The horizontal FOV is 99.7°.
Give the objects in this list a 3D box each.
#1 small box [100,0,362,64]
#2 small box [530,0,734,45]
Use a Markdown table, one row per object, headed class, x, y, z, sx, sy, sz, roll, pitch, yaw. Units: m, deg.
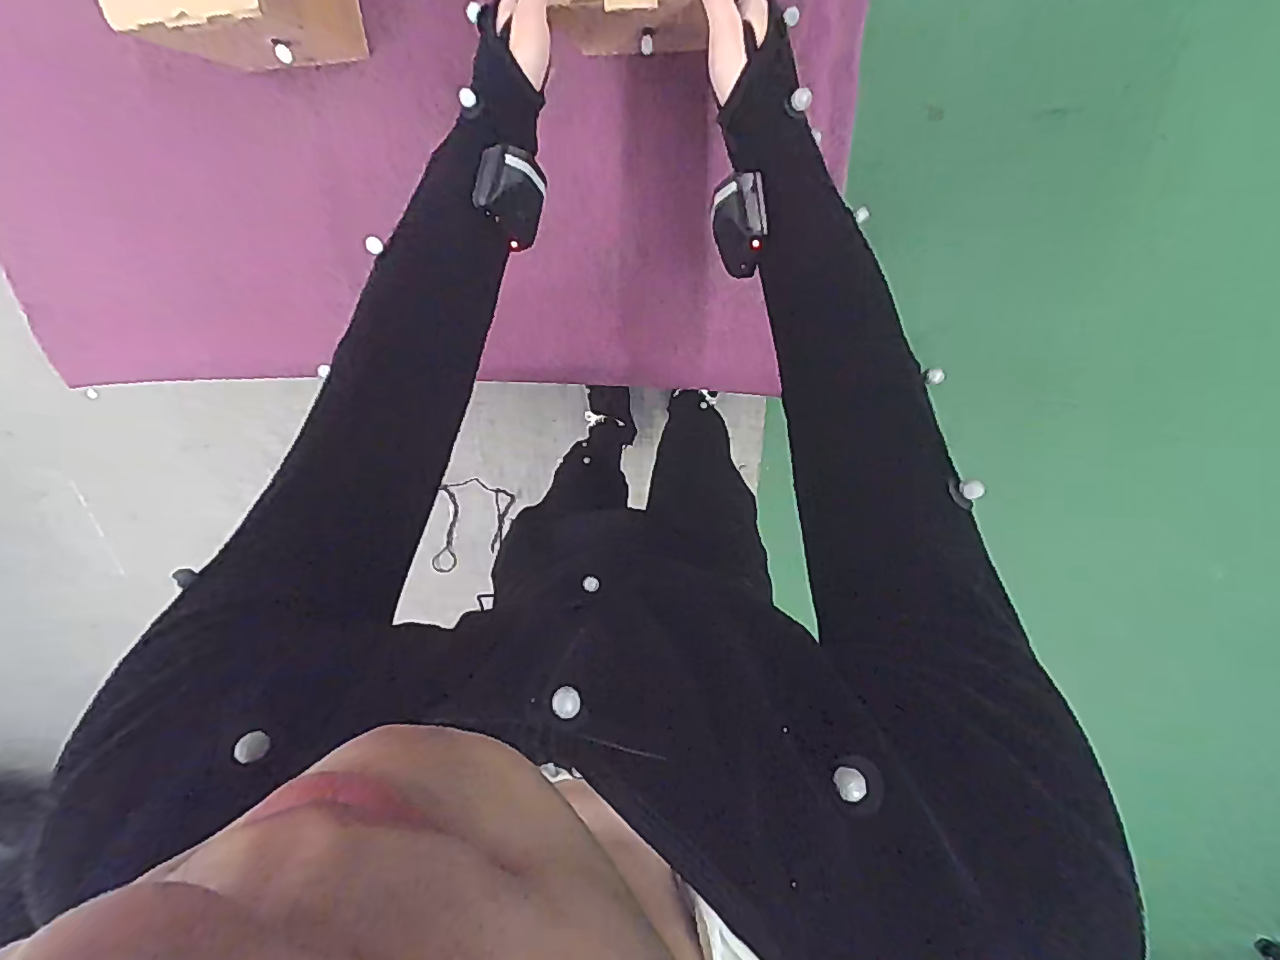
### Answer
| class | x | y | z | sx | sy | sz | roll | pitch | yaw |
| --- | --- | --- | --- | --- | --- | --- | --- | --- | --- |
| small box | -0.411 | -0.534 | 0.533 | 0.168 | 0.176 | 0.179 | 2 | 117 | 9 |
| small box | 0.000 | -0.503 | 0.469 | 0.168 | 0.176 | 0.179 | 4 | 118 | 9 |
